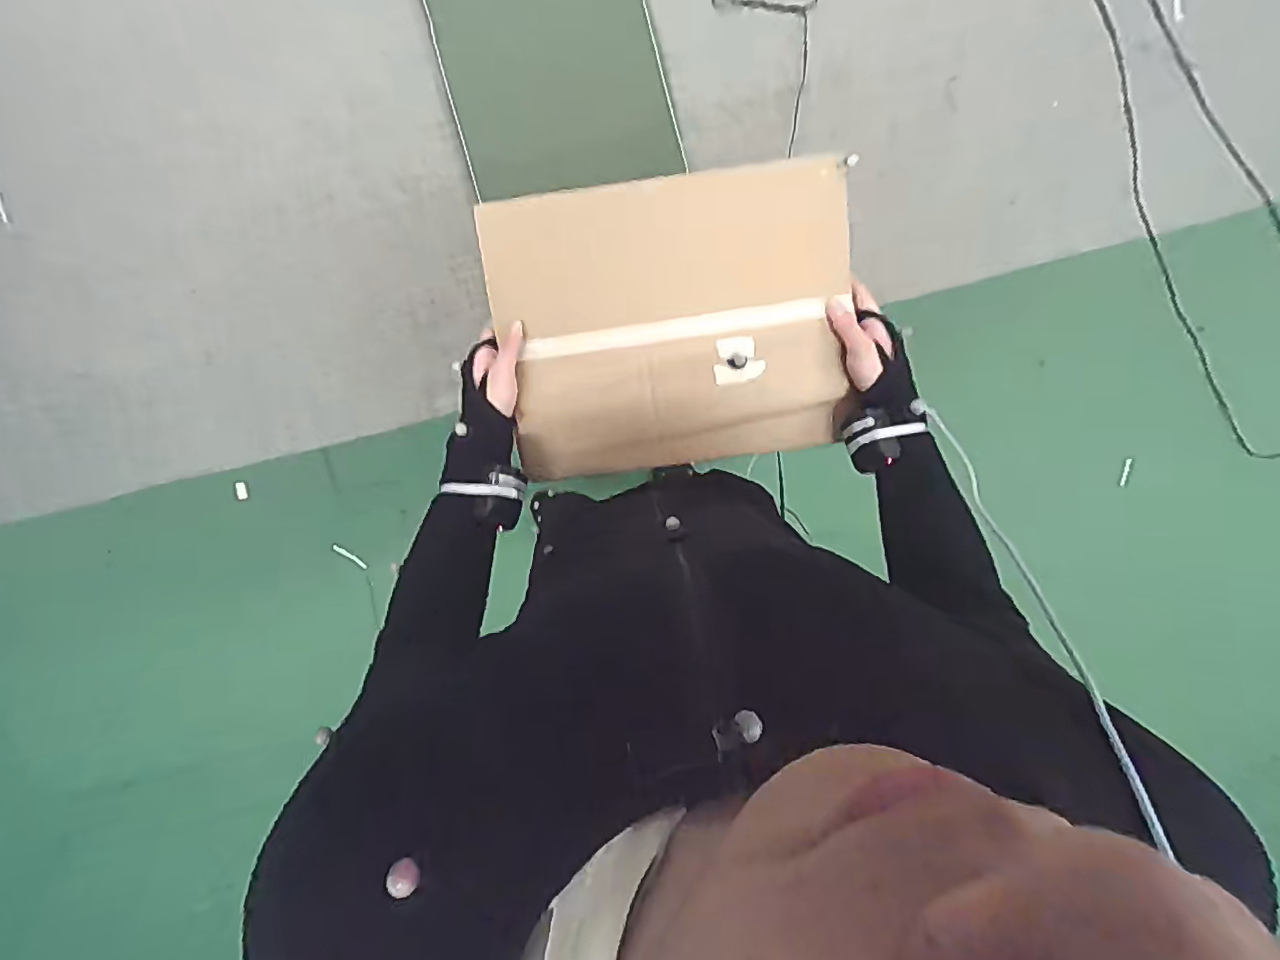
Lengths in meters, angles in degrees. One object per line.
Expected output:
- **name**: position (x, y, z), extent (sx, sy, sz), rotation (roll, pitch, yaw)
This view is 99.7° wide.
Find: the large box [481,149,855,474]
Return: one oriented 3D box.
- **large box**: position (0.037, -0.212, 0.767), extent (0.408, 0.320, 0.320), rotation (-8, 102, 1)
